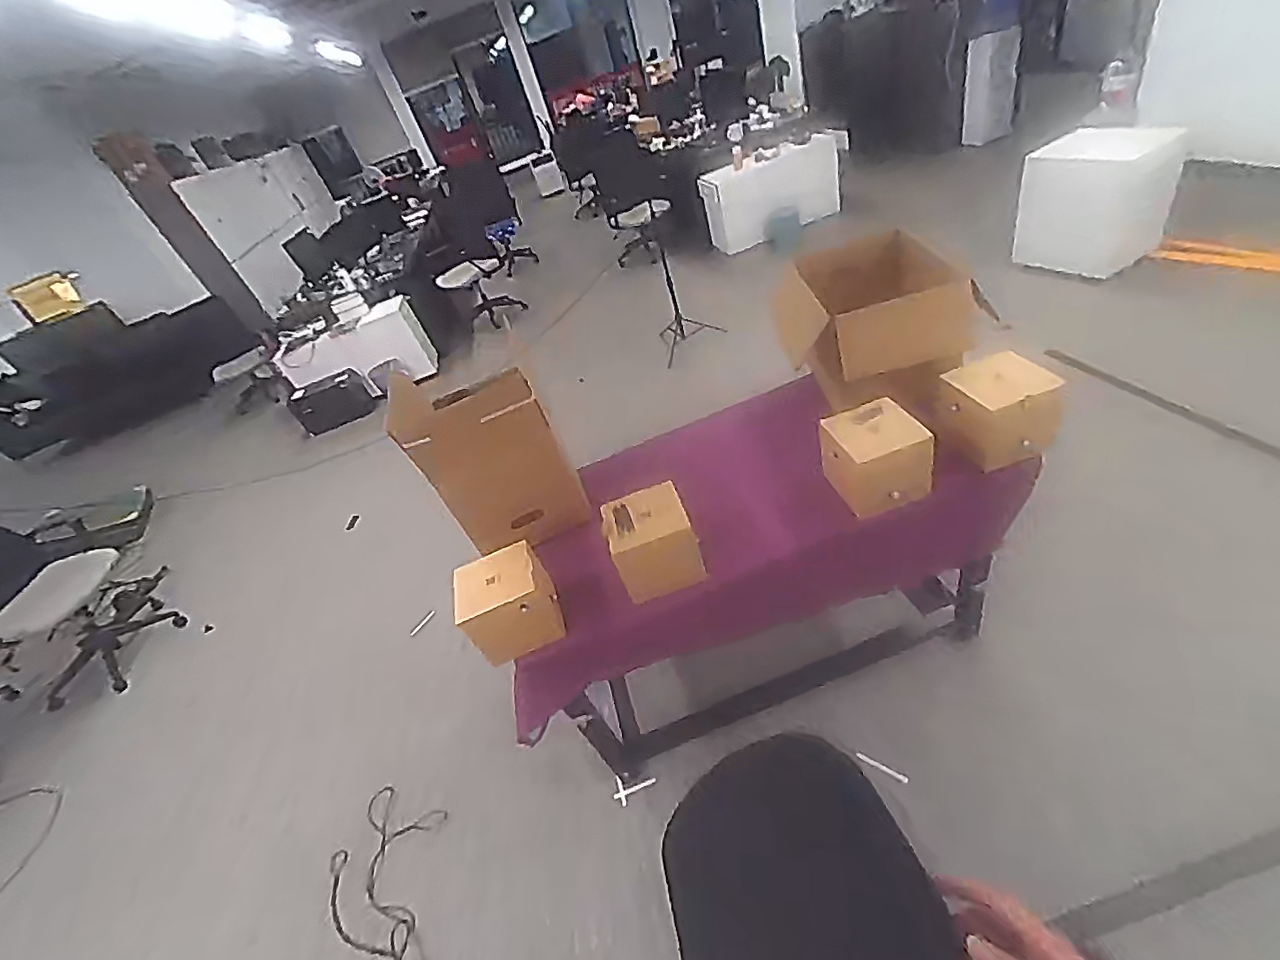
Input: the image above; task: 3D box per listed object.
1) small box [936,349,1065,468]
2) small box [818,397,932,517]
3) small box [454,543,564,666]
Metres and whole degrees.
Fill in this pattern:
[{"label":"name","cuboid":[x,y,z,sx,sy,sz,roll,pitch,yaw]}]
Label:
[{"label":"small box","cuboid":[0.777,-0.156,1.189,0.168,0.176,0.179,-21,37,2]},{"label":"small box","cuboid":[0.513,-0.051,1.194,0.168,0.176,0.179,-21,38,1]},{"label":"small box","cuboid":[-0.288,0.276,1.190,0.179,0.176,0.168,-24,38,-4]}]
